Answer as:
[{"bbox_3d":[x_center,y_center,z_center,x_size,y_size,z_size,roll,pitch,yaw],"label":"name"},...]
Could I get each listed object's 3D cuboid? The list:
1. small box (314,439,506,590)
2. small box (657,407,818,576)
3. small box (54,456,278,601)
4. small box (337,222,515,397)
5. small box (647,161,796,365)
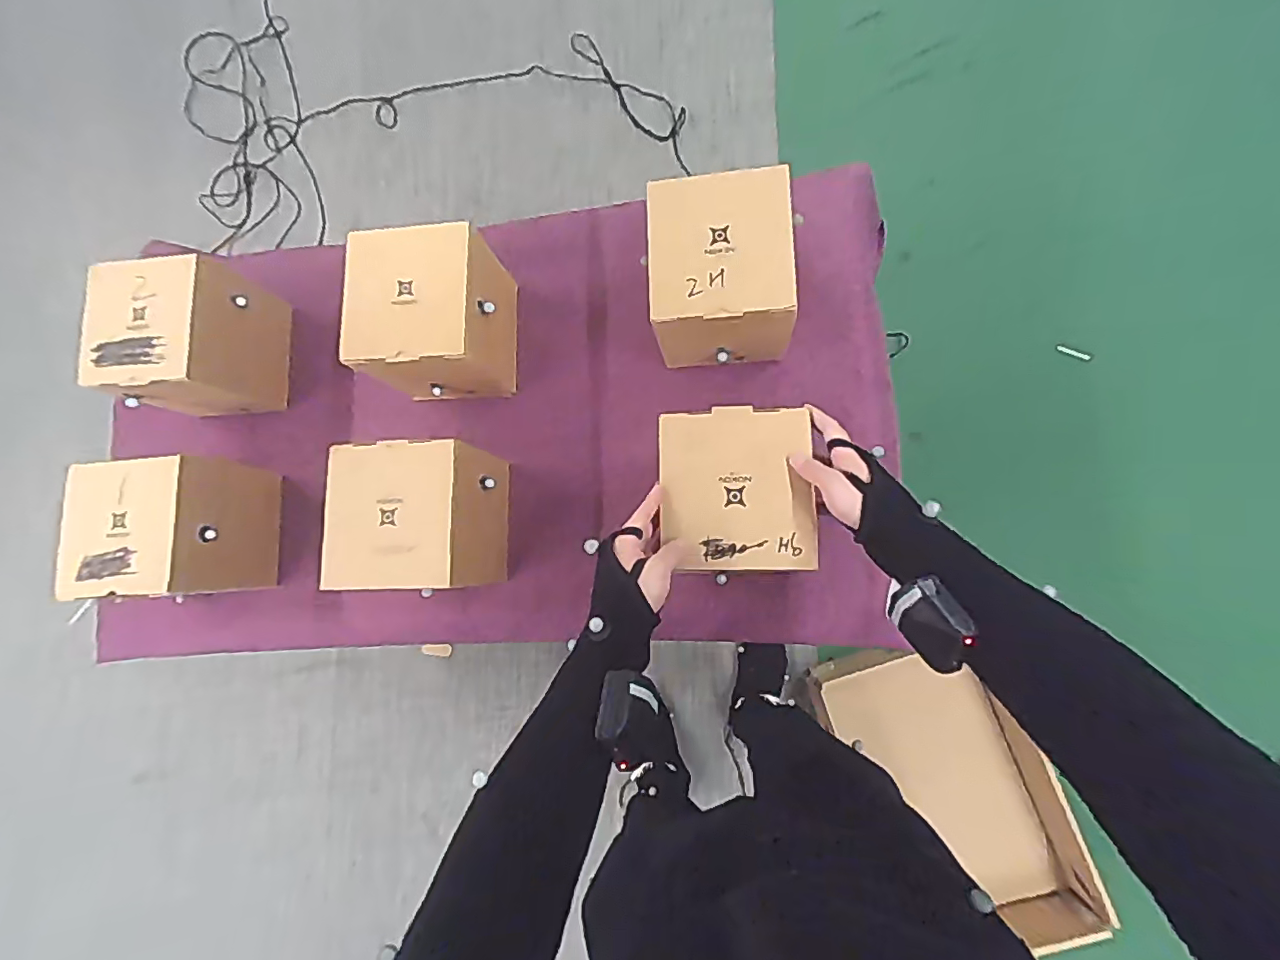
[{"bbox_3d":[-0.284,0.051,0.705,0.168,0.176,0.179,-2,82,9],"label":"small box"},{"bbox_3d":[0.111,0.023,0.647,0.168,0.176,0.179,-2,79,9],"label":"small box"},{"bbox_3d":[-0.643,0.071,0.754,0.168,0.176,0.179,-4,80,7],"label":"small box"},{"bbox_3d":[-0.280,-0.222,0.741,0.168,0.176,0.179,-1,84,8],"label":"small box"},{"bbox_3d":[0.101,-0.260,0.685,0.168,0.176,0.179,-2,83,10],"label":"small box"}]
